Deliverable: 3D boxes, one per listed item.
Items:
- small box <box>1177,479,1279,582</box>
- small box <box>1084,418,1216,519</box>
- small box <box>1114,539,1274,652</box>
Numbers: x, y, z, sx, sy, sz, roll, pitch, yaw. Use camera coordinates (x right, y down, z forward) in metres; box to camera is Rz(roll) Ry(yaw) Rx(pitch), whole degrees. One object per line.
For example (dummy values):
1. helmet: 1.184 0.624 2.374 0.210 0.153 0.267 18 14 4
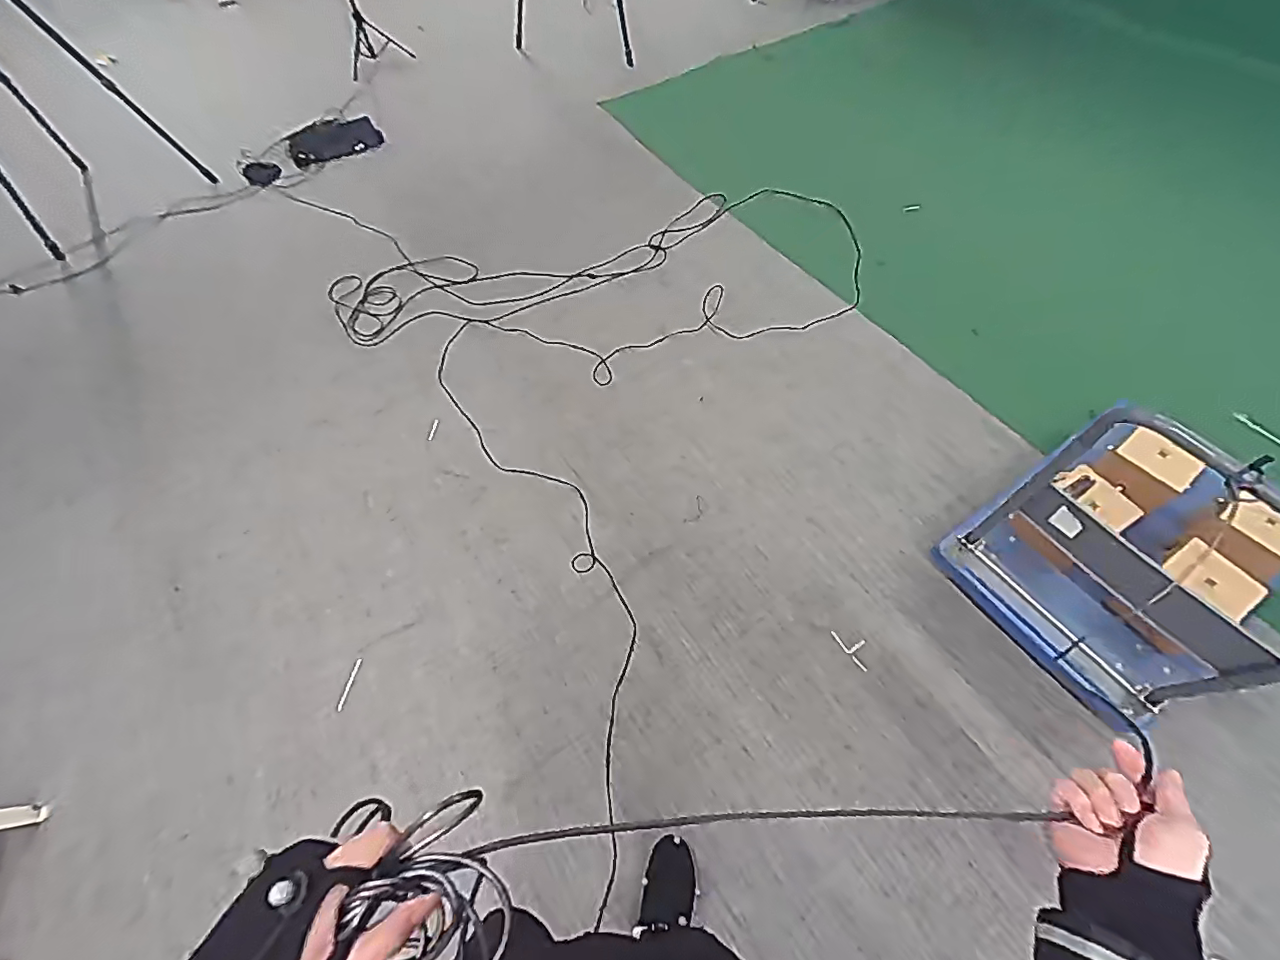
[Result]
1. small box: 1.509 0.137 1.340 0.179 0.176 0.168 -36 62 -15
2. small box: 1.352 -0.026 1.451 0.179 0.176 0.168 -35 63 -16
3. small box: 1.287 0.275 1.273 0.179 0.176 0.168 -31 62 -13
